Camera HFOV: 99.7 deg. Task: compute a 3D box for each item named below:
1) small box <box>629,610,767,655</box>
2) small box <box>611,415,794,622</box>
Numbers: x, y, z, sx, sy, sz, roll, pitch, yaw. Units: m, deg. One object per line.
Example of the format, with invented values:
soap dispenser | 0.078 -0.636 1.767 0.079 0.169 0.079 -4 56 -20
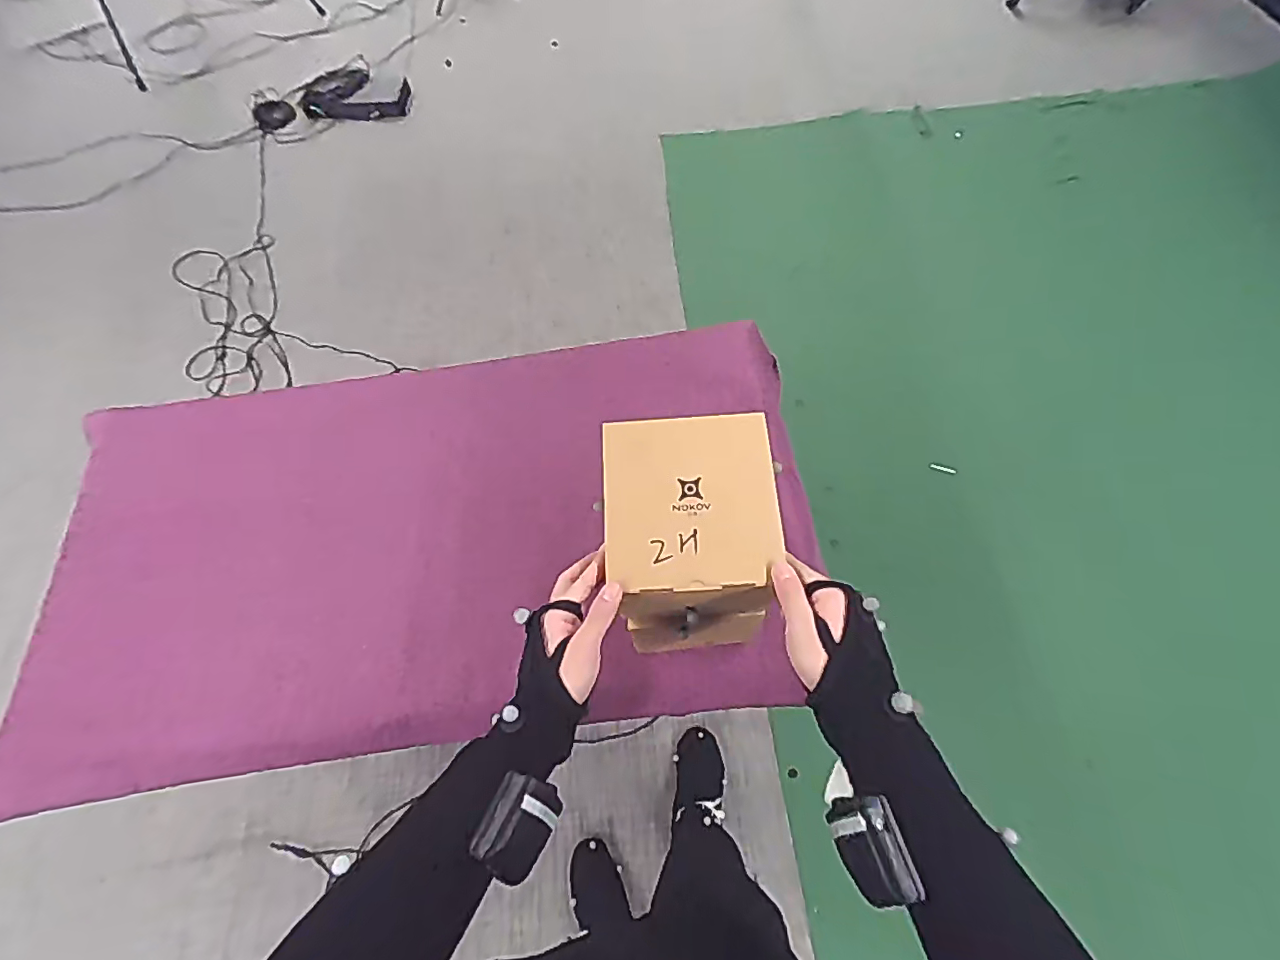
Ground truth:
small box | 0.067 0.130 0.745 0.168 0.176 0.179 -6 62 1
small box | 0.057 0.049 0.586 0.168 0.176 0.179 -3 67 3
